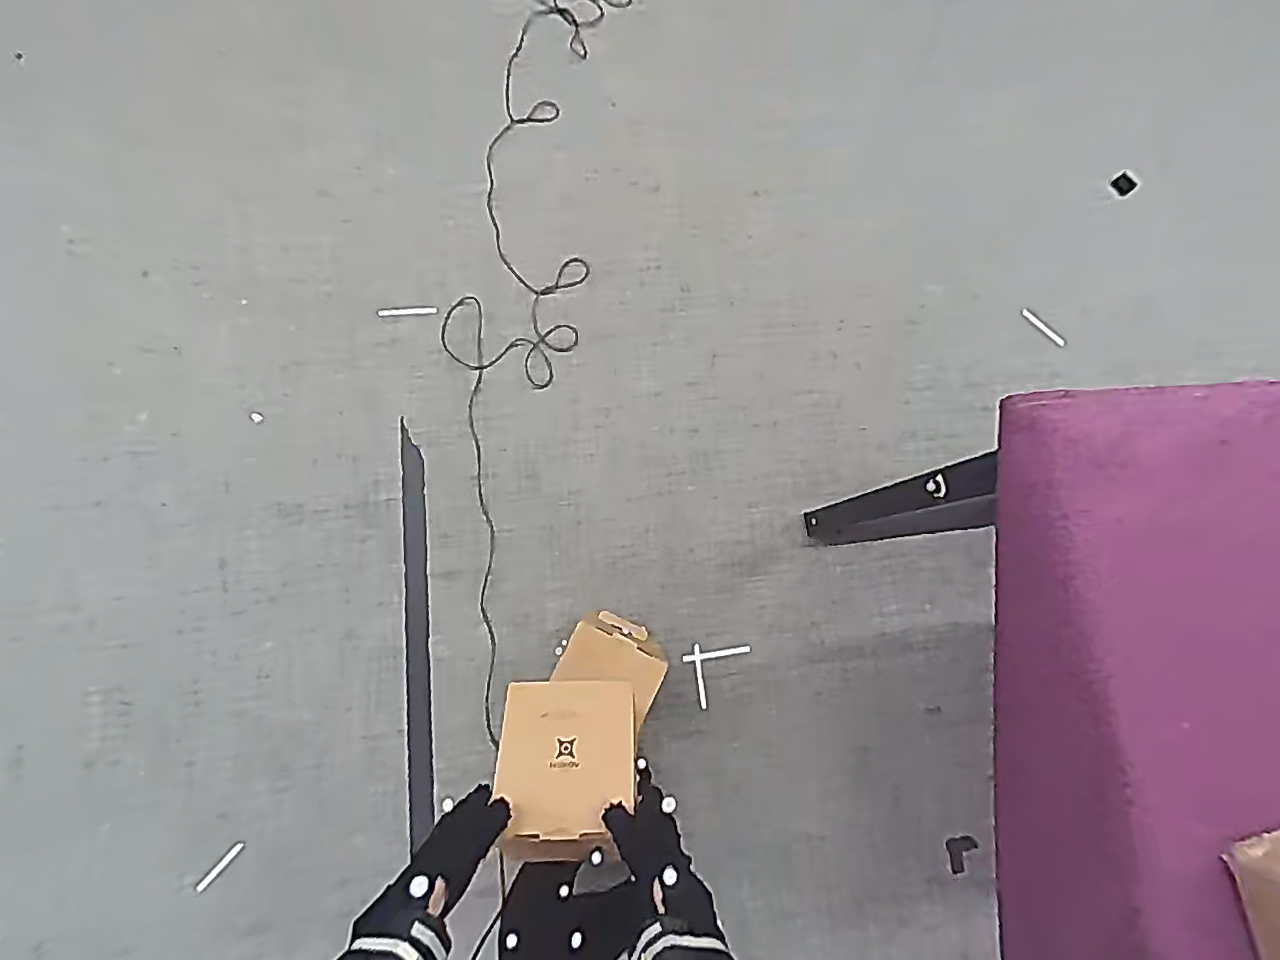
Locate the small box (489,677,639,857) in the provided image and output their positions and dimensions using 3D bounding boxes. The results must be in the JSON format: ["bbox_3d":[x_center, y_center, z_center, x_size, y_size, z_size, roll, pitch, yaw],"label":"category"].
[{"bbox_3d":[-0.085,0.377,0.705,0.168,0.176,0.179,-1,46,-1],"label":"small box"}]

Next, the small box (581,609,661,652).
[{"bbox_3d":[-0.073,0.373,1.095,0.168,0.176,0.179,25,79,1],"label":"small box"}]

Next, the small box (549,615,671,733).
[{"bbox_3d":[-0.065,0.346,0.933,0.168,0.176,0.179,27,78,2],"label":"small box"}]
